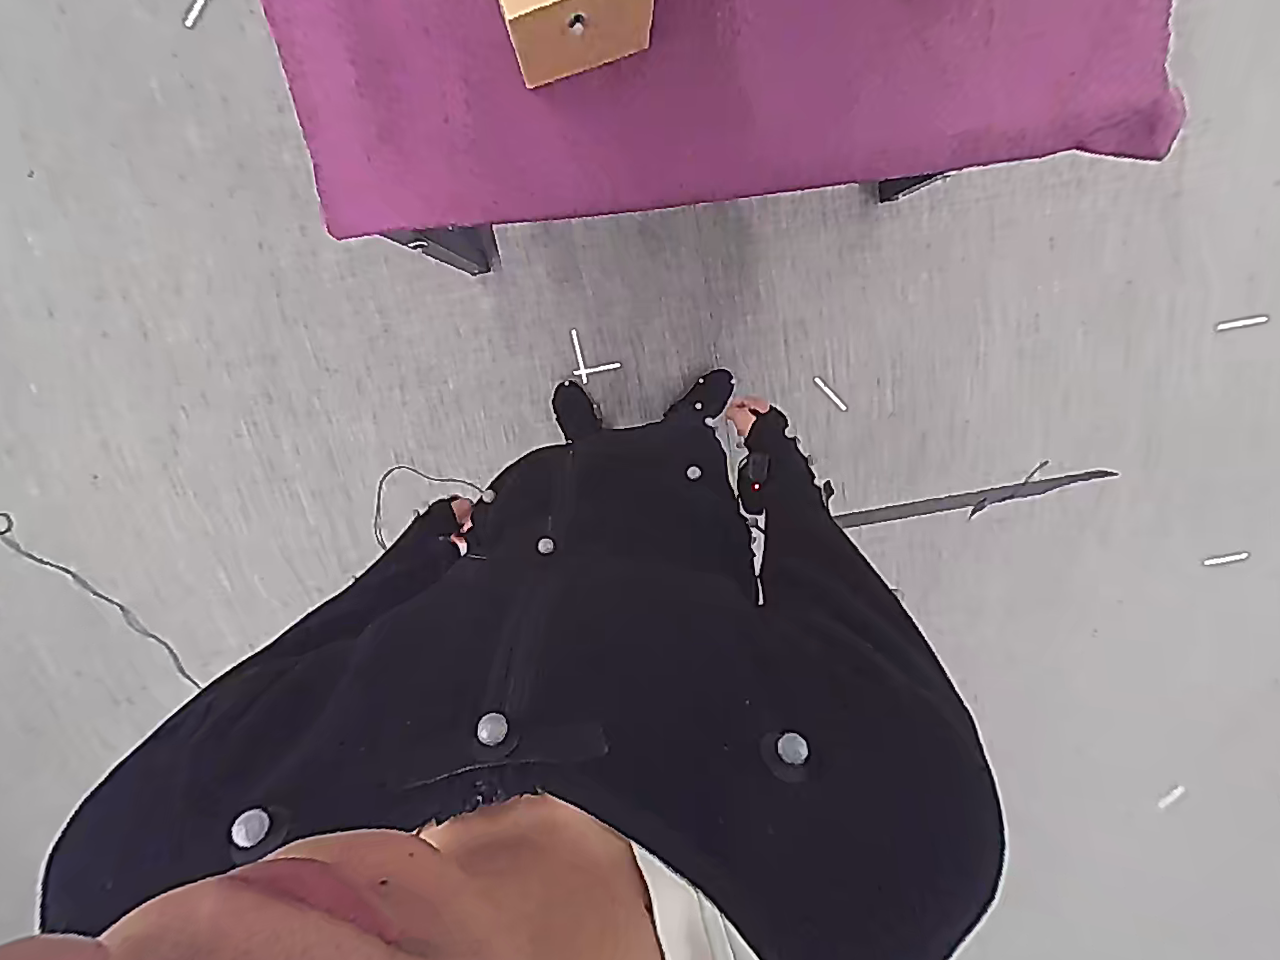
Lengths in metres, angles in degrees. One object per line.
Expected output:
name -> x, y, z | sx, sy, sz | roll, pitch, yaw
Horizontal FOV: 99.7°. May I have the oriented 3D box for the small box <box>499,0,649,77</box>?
small box -> -0.089, -0.612, 0.625 | 0.179, 0.176, 0.168 | -18, 105, 1
